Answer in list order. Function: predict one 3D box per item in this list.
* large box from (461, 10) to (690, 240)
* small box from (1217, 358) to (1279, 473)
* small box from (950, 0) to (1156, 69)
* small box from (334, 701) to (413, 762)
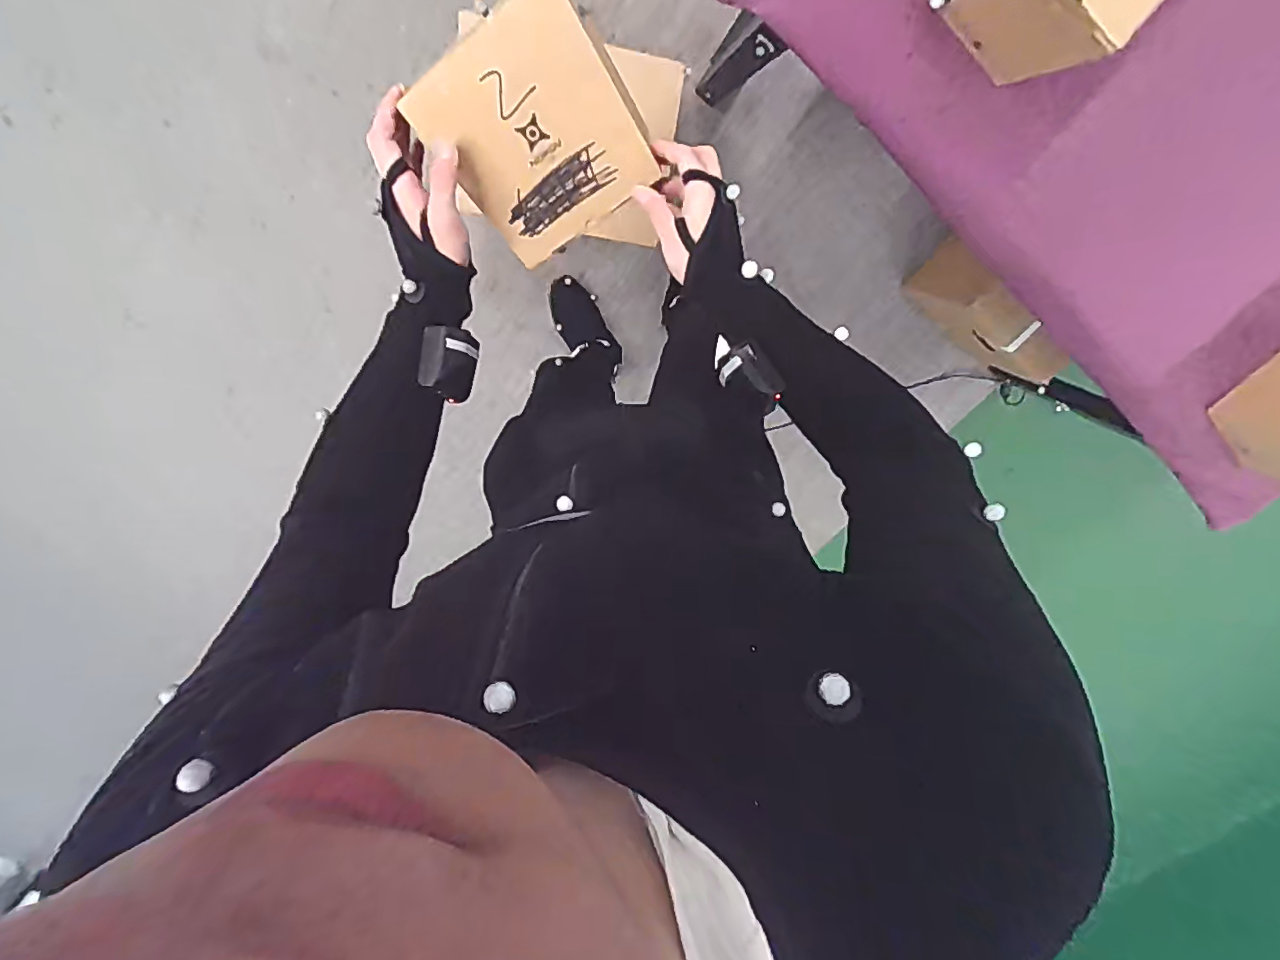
[{"bbox_3d":[-0.143,-0.709,1.137,0.408,0.320,0.320,6,117,-9],"label":"large box"},{"bbox_3d":[1.038,-0.100,0.794,0.168,0.176,0.179,36,107,-18],"label":"small box"},{"bbox_3d":[0.422,-0.545,0.518,0.168,0.176,0.179,31,110,-19],"label":"small box"},{"bbox_3d":[-0.953,0.942,1.952,0.168,0.176,0.179,40,107,-18],"label":"small box"}]
